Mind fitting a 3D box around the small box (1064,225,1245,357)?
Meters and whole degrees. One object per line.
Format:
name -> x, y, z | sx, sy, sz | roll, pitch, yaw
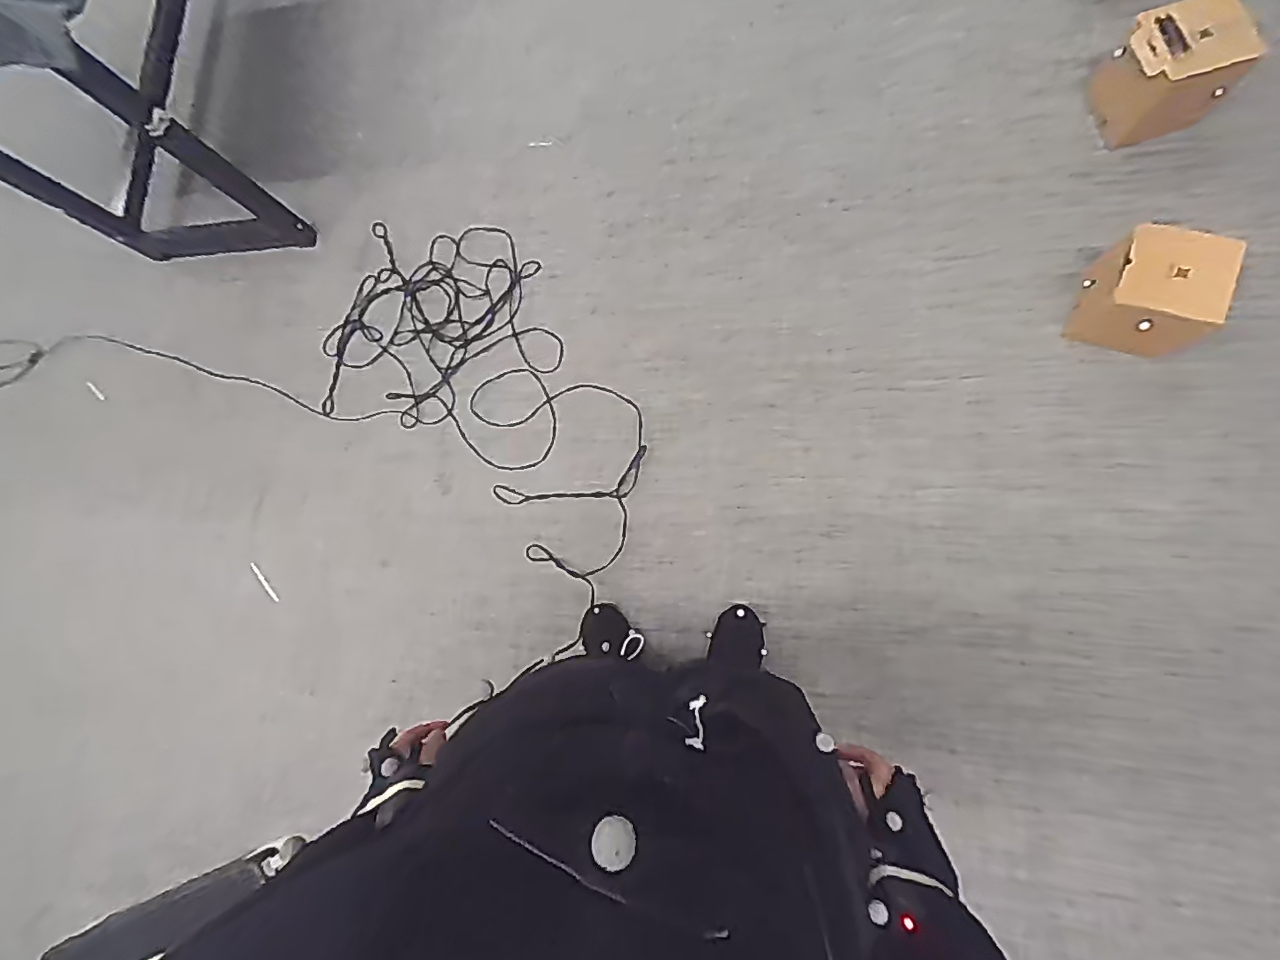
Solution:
small box -> 0.986, -0.358, 1.053 | 0.179, 0.176, 0.168 | 20, 85, 14
